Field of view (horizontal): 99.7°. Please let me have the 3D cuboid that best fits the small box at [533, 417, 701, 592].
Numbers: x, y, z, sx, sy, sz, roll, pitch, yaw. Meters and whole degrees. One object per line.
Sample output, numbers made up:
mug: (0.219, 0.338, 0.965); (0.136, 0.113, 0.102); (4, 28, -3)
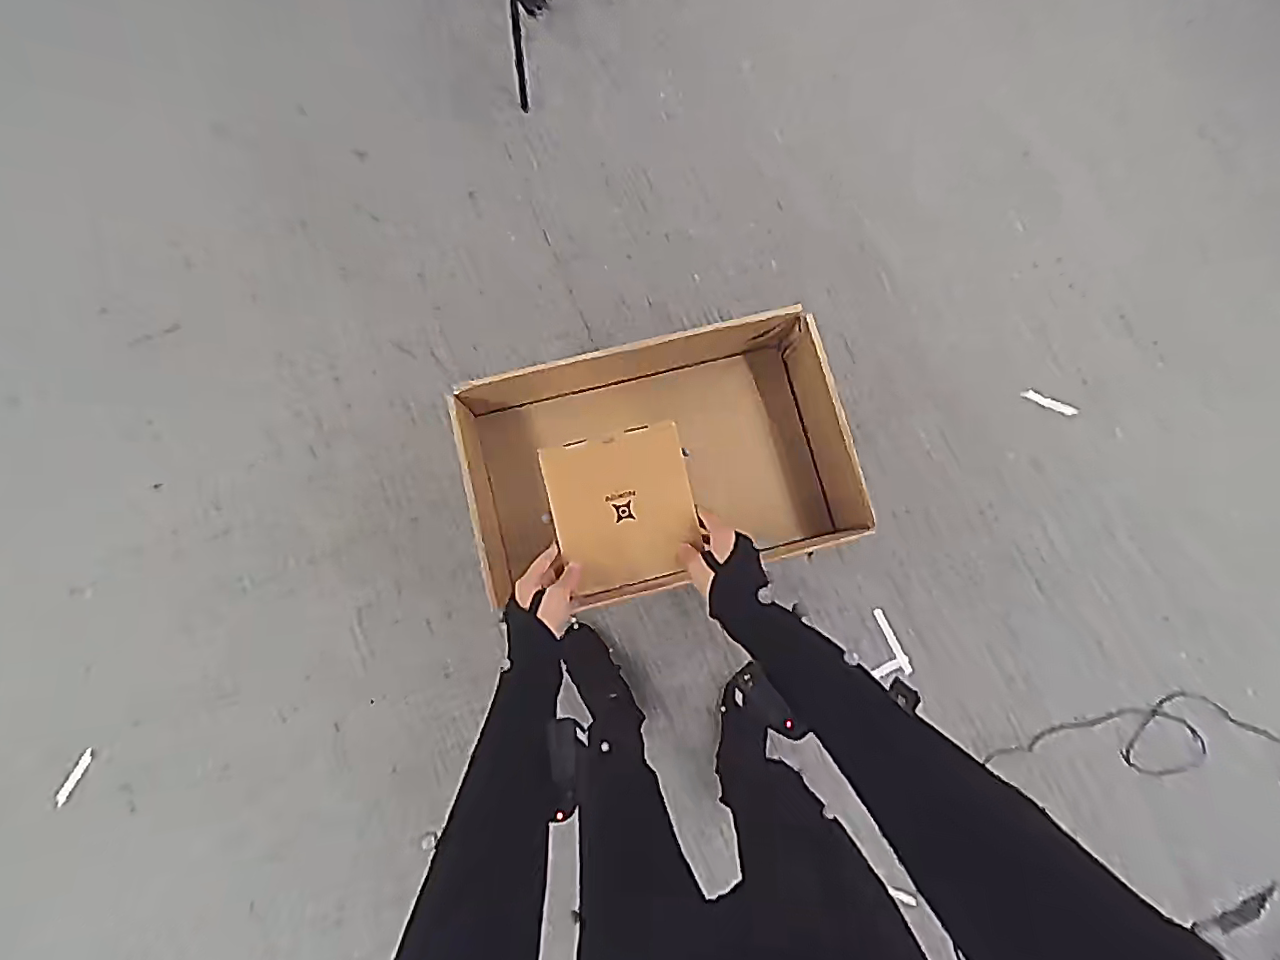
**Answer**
small box: (-0.026, 0.029, 0.703); (0.168, 0.176, 0.179); (-14, 88, -2)
